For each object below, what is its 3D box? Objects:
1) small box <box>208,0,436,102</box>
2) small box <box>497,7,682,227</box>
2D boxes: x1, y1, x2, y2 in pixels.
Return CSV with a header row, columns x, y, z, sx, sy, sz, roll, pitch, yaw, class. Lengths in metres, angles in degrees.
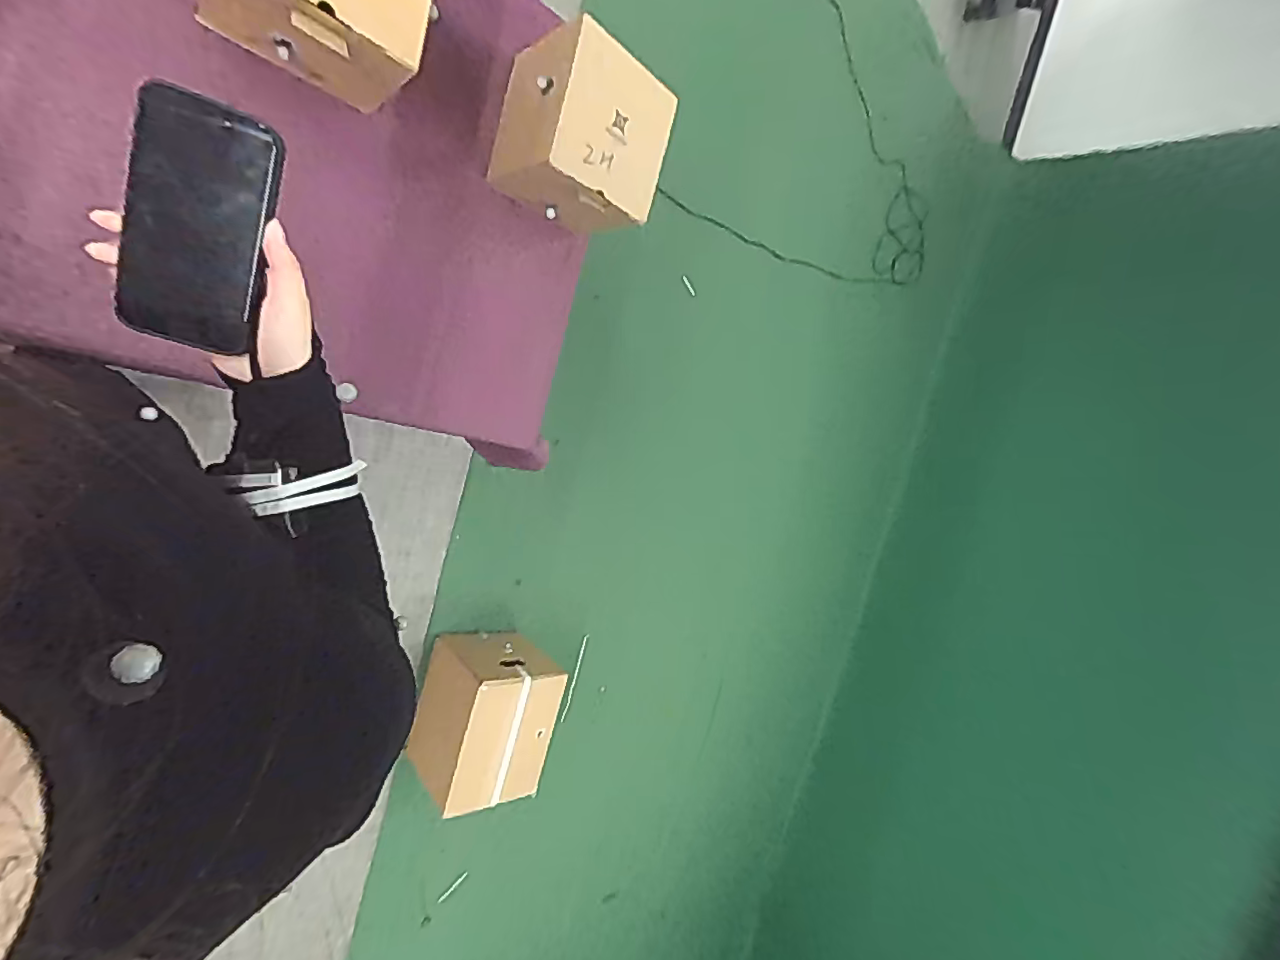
x,y,z,sx,sy,sz,roll,pitch,yaw,class
-0.303,-0.515,0.523,0.168,0.176,0.179,8,100,-43,small box
-0.075,-0.472,0.740,0.168,0.176,0.179,11,97,-43,small box
